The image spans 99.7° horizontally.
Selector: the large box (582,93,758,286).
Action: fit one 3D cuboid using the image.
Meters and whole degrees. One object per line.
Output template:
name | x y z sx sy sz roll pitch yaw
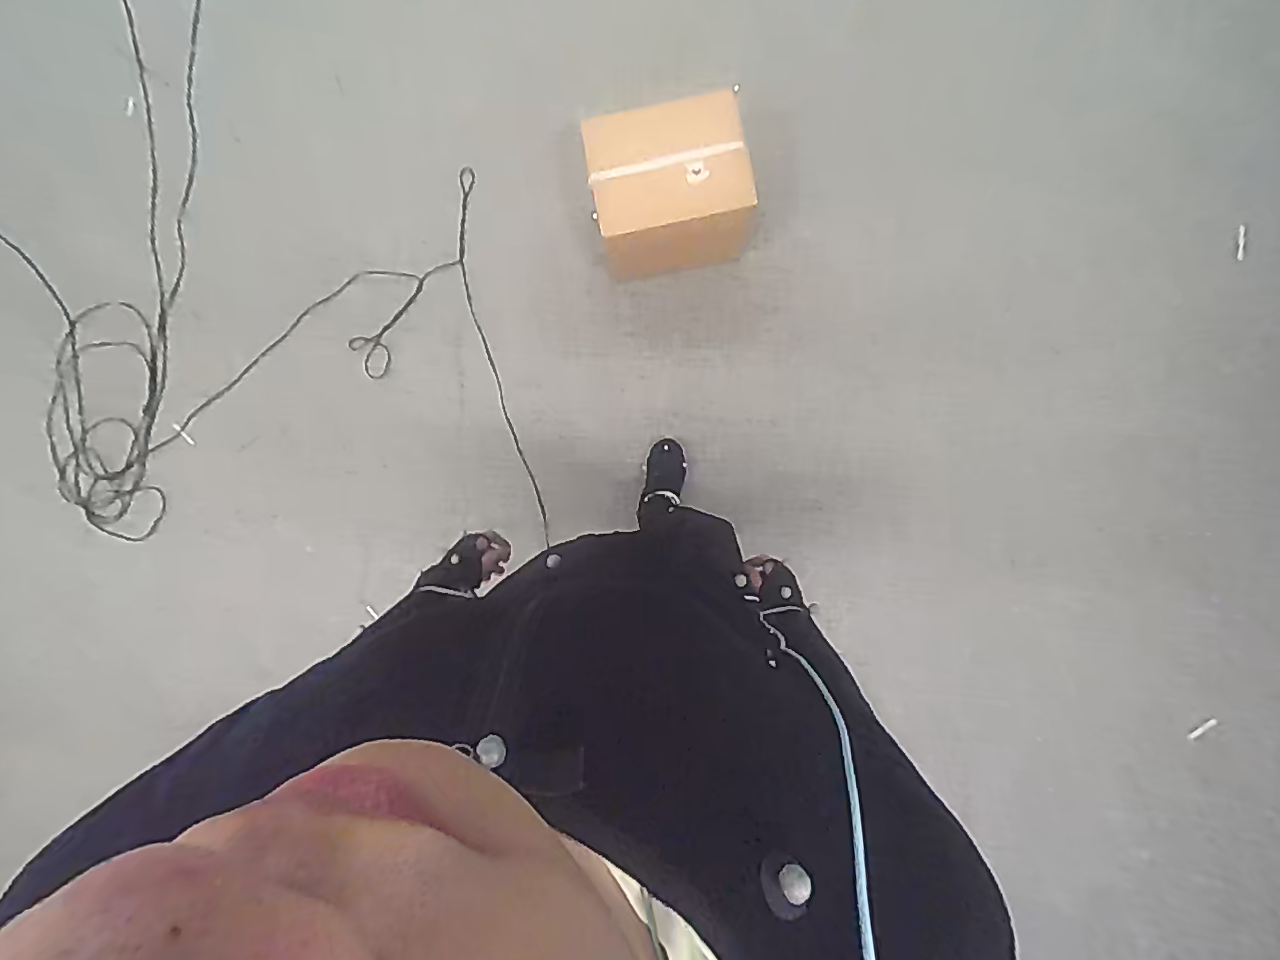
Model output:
large box | 0.079 -0.789 1.520 0.408 0.320 0.320 -11 87 2
